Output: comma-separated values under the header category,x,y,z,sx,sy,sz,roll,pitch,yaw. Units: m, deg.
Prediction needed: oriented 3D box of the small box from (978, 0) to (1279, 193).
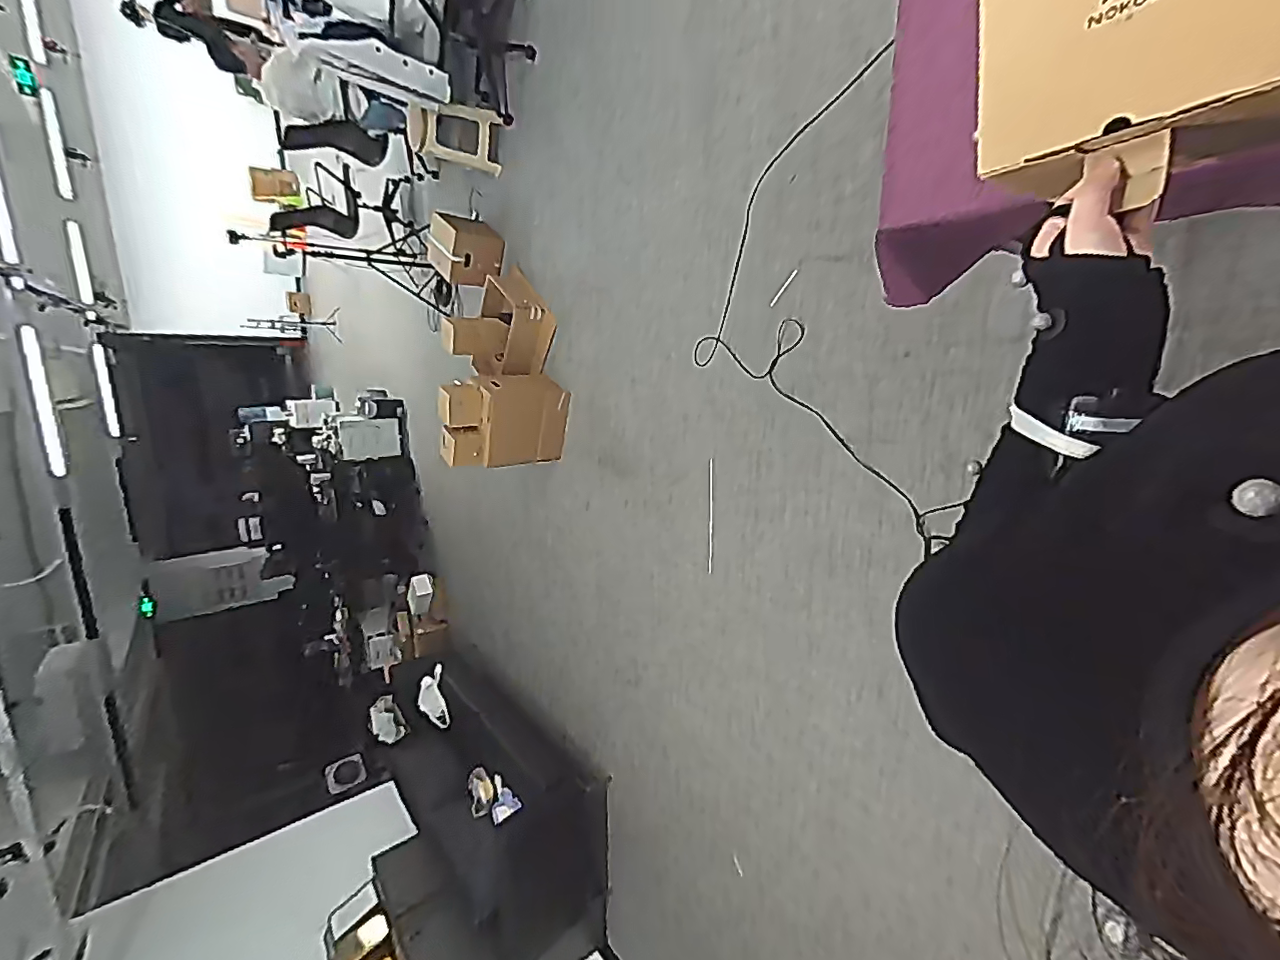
category,x,y,z,sx,sy,sz,roll,pitch,yaw
small box,0.374,-0.336,0.399,0.168,0.176,0.179,8,109,52
